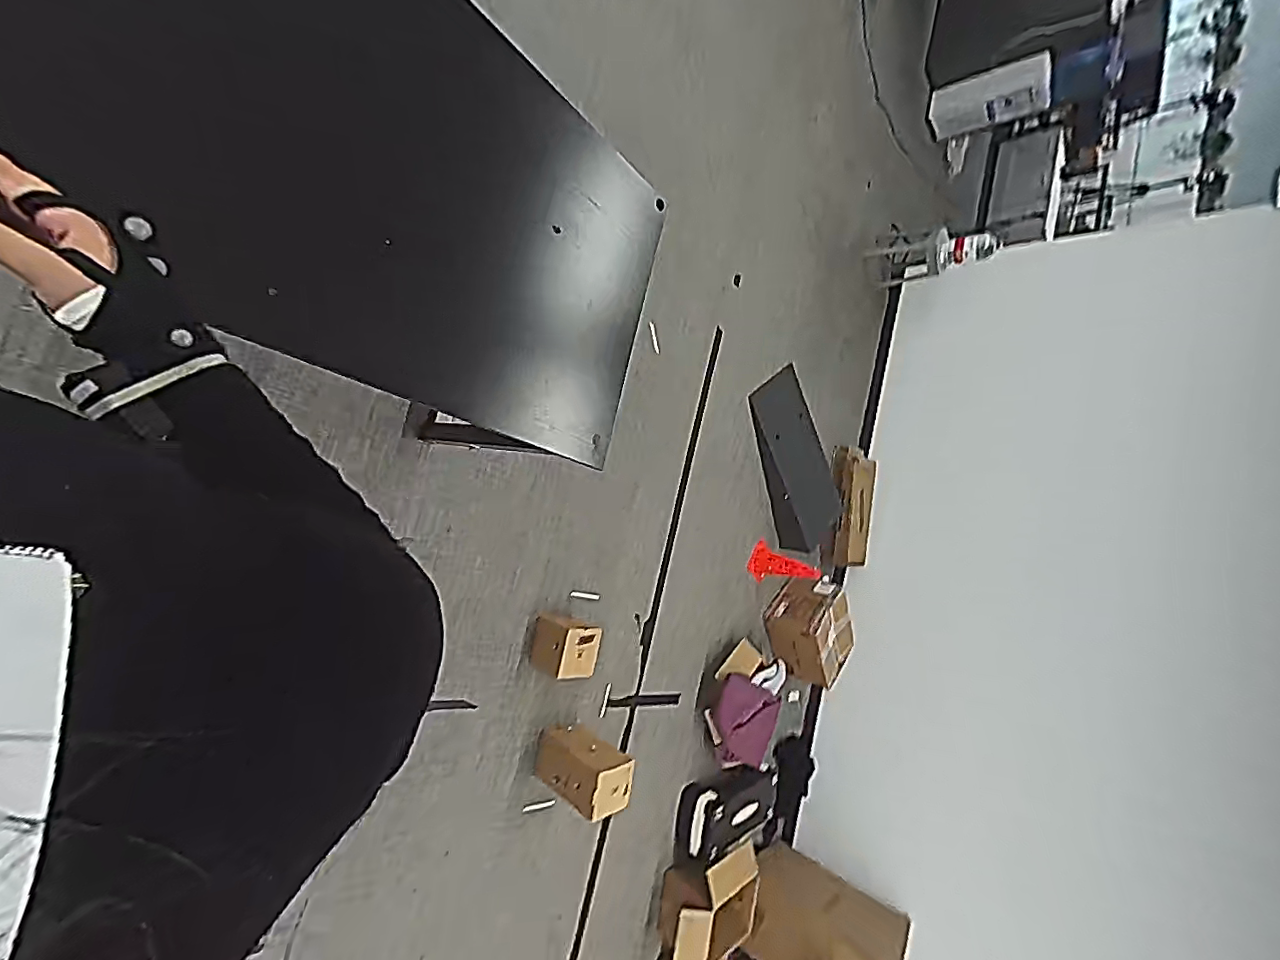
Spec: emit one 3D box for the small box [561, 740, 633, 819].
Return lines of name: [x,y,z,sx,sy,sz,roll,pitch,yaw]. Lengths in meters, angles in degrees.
small box: [-0.153,1.038,1.891,0.179,0.176,0.168,11,88,-47]

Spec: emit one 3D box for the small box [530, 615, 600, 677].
small box: [-0.272,0.589,1.938,0.168,0.176,0.179,17,83,-47]

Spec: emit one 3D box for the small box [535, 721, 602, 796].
small box: [-0.267,1.026,2.007,0.168,0.176,0.179,13,86,-48]
